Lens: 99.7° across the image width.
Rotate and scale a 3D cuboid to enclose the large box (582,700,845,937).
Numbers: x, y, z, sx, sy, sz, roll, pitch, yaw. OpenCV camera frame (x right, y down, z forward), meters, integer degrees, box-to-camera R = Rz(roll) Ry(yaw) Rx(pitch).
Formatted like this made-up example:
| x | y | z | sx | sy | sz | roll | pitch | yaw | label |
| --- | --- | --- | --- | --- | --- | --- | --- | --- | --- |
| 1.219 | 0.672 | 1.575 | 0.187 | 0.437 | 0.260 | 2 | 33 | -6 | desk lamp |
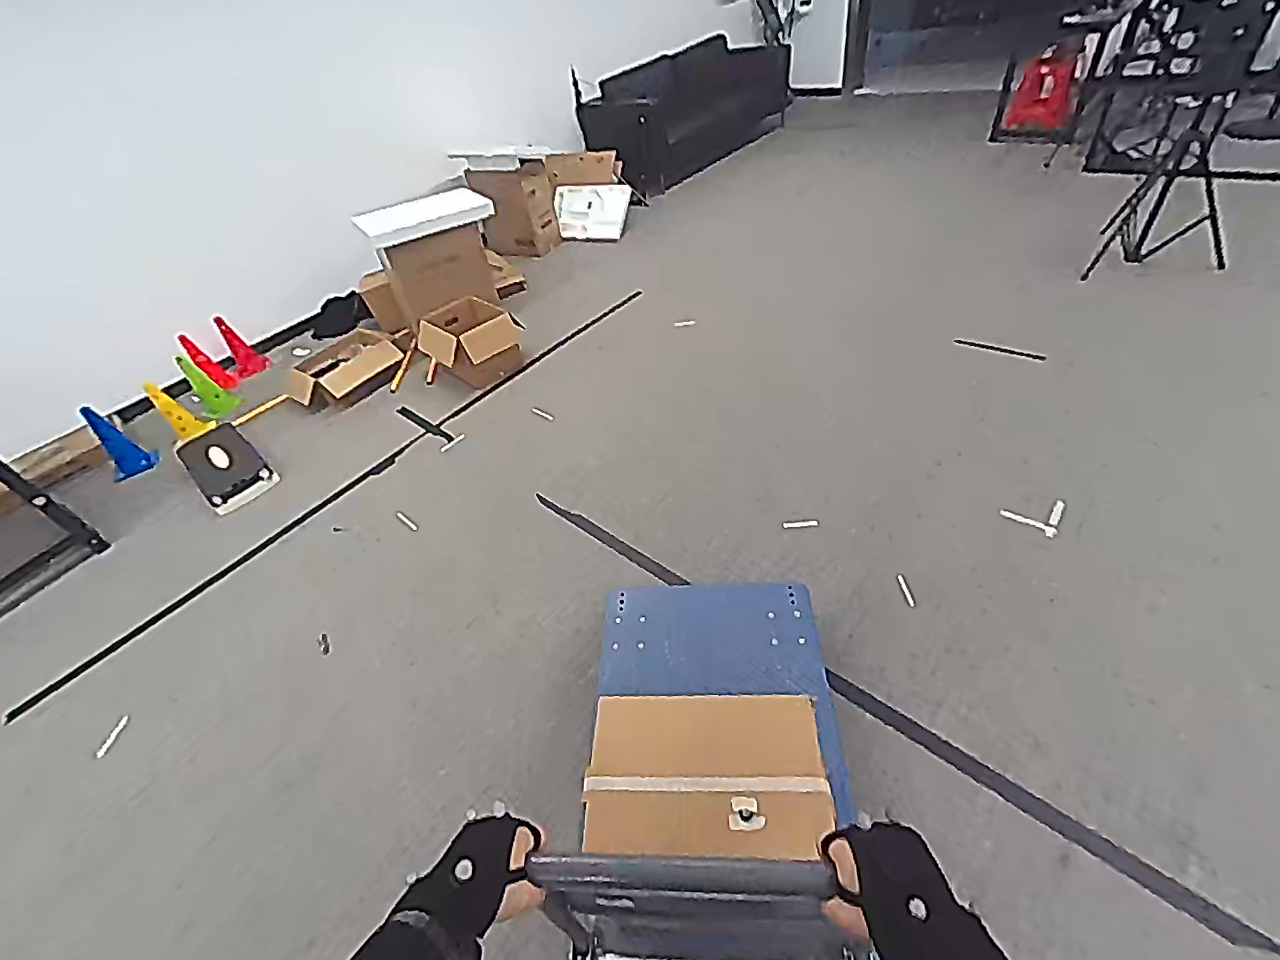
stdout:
| x | y | z | sx | sy | sz | roll | pitch | yaw | label |
| --- | --- | --- | --- | --- | --- | --- | --- | --- | --- |
| 0.128 | 0.634 | 1.016 | 0.408 | 0.320 | 0.320 | -3 | 44 | 7 | large box |
